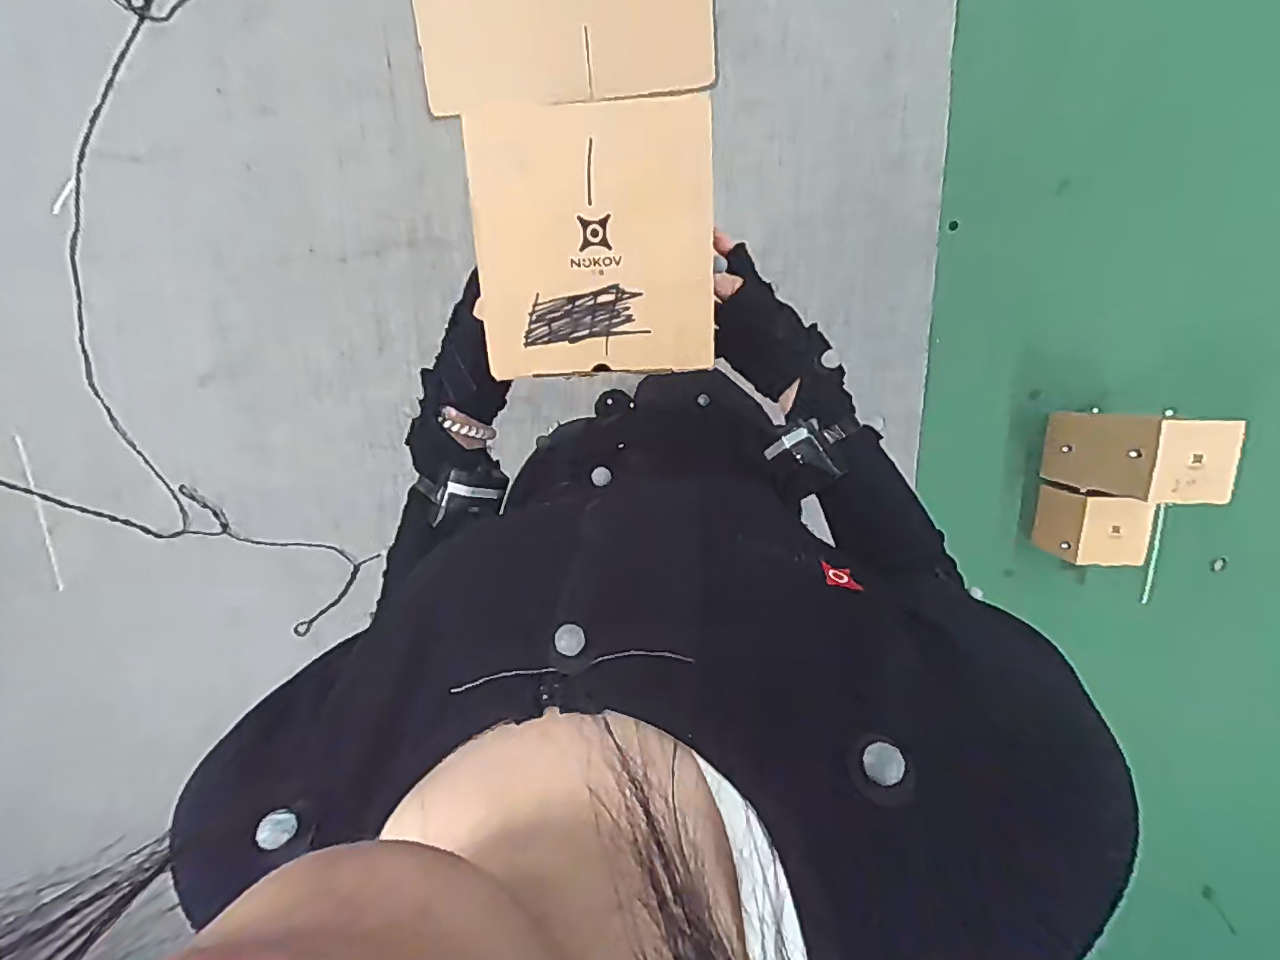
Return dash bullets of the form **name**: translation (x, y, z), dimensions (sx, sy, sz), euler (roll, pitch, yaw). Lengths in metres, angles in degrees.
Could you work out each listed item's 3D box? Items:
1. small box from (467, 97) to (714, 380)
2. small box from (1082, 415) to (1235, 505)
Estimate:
- **small box**: translation (-0.026, -0.184, 0.452), dimensions (0.168, 0.176, 0.179), euler (-3, 106, 3)
- **small box**: translation (1.130, -0.050, 1.194), dimensions (0.168, 0.176, 0.179), euler (1, 101, 2)
